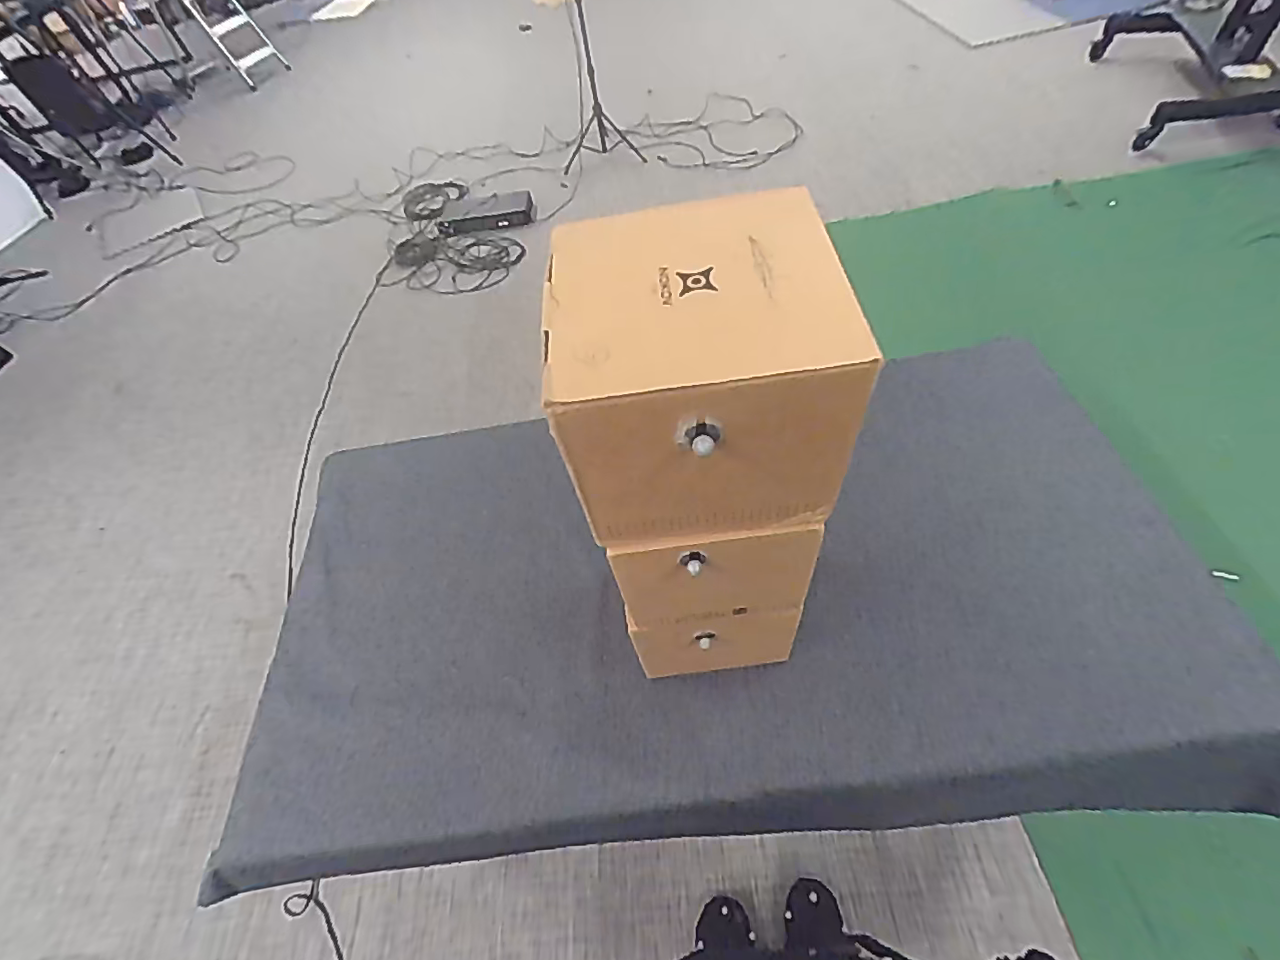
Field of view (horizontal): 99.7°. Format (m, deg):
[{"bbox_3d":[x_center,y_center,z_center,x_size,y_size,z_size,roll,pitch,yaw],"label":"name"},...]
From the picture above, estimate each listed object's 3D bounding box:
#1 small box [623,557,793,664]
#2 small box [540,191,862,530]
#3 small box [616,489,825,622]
[{"bbox_3d":[0.077,0.113,0.659,0.179,0.176,0.168,-8,55,3],"label":"small box"},{"bbox_3d":[0.037,-0.075,0.396,0.179,0.176,0.168,-7,57,3],"label":"small box"},{"bbox_3d":[0.062,0.018,0.530,0.168,0.176,0.179,-9,55,1],"label":"small box"}]
